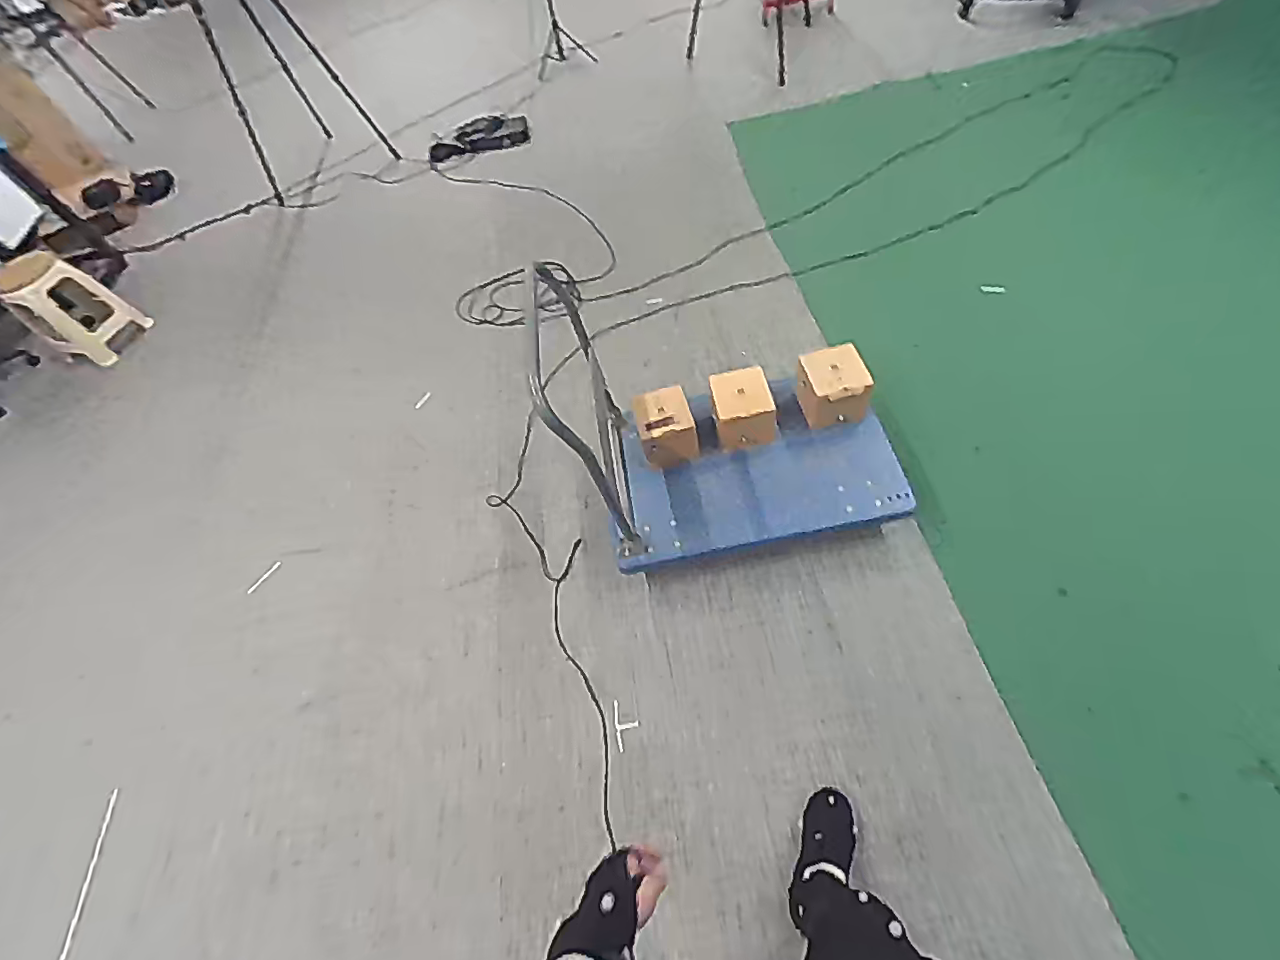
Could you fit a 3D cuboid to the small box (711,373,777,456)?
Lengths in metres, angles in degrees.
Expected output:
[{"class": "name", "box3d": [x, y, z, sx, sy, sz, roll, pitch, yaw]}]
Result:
[{"class": "small box", "box3d": [0.319, -0.201, 1.680, 0.168, 0.176, 0.179, -12, 57, 4]}]

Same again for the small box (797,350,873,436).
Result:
[{"class": "small box", "box3d": [0.591, -0.265, 1.662, 0.168, 0.176, 0.179, -13, 56, 4]}]
